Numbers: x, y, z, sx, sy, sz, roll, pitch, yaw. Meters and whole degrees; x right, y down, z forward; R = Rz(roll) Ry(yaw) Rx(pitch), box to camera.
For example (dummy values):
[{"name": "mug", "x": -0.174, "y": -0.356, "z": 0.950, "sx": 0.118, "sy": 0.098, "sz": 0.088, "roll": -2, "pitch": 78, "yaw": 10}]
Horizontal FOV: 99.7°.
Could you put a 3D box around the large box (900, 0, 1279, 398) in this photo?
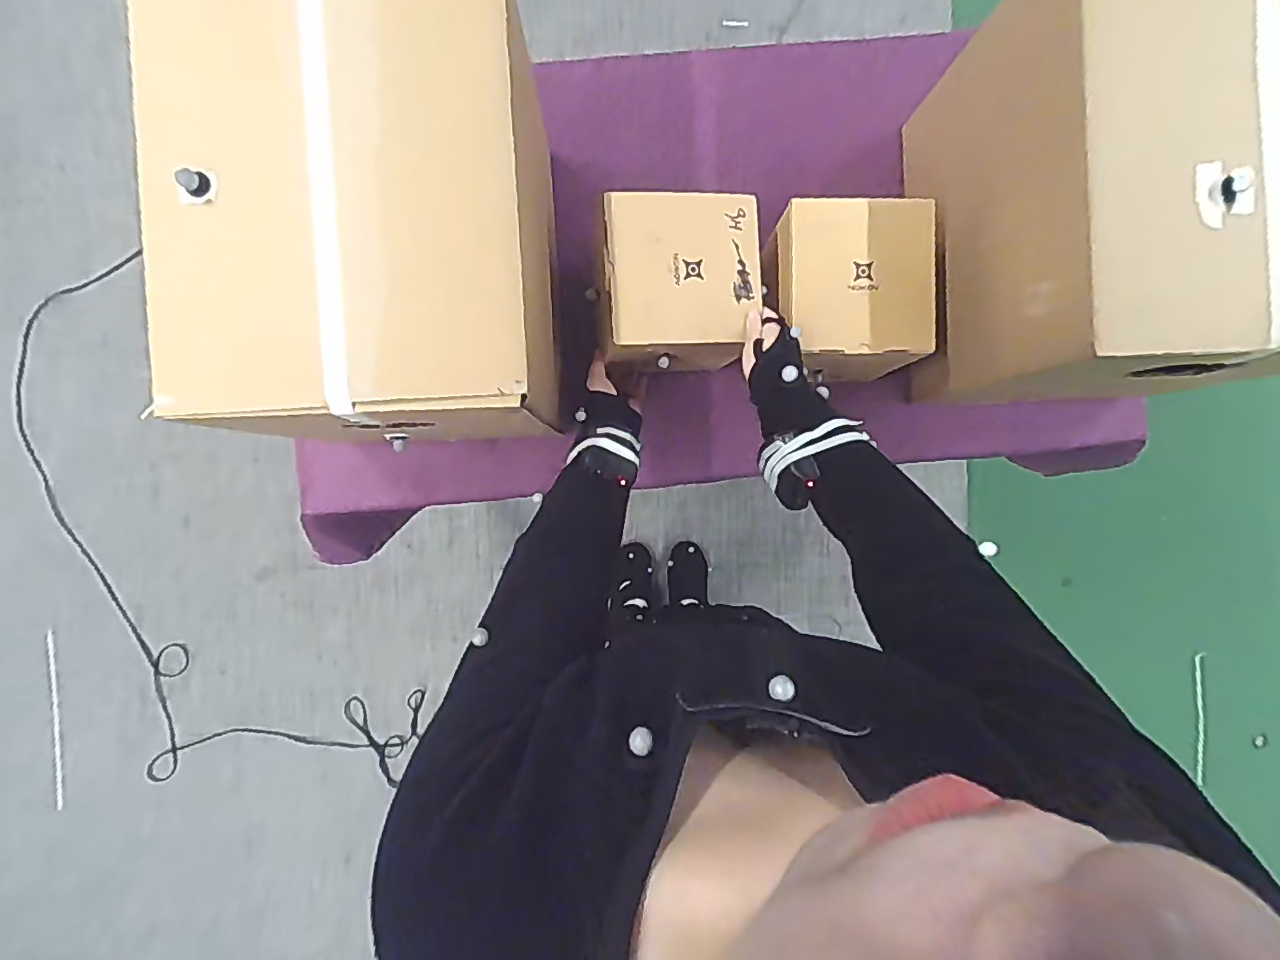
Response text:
[{"name": "large box", "x": 0.536, "y": -0.319, "z": 0.635, "sx": 0.320, "sy": 0.320, "sz": 0.408, "roll": -2, "pitch": 91, "yaw": -2}]
